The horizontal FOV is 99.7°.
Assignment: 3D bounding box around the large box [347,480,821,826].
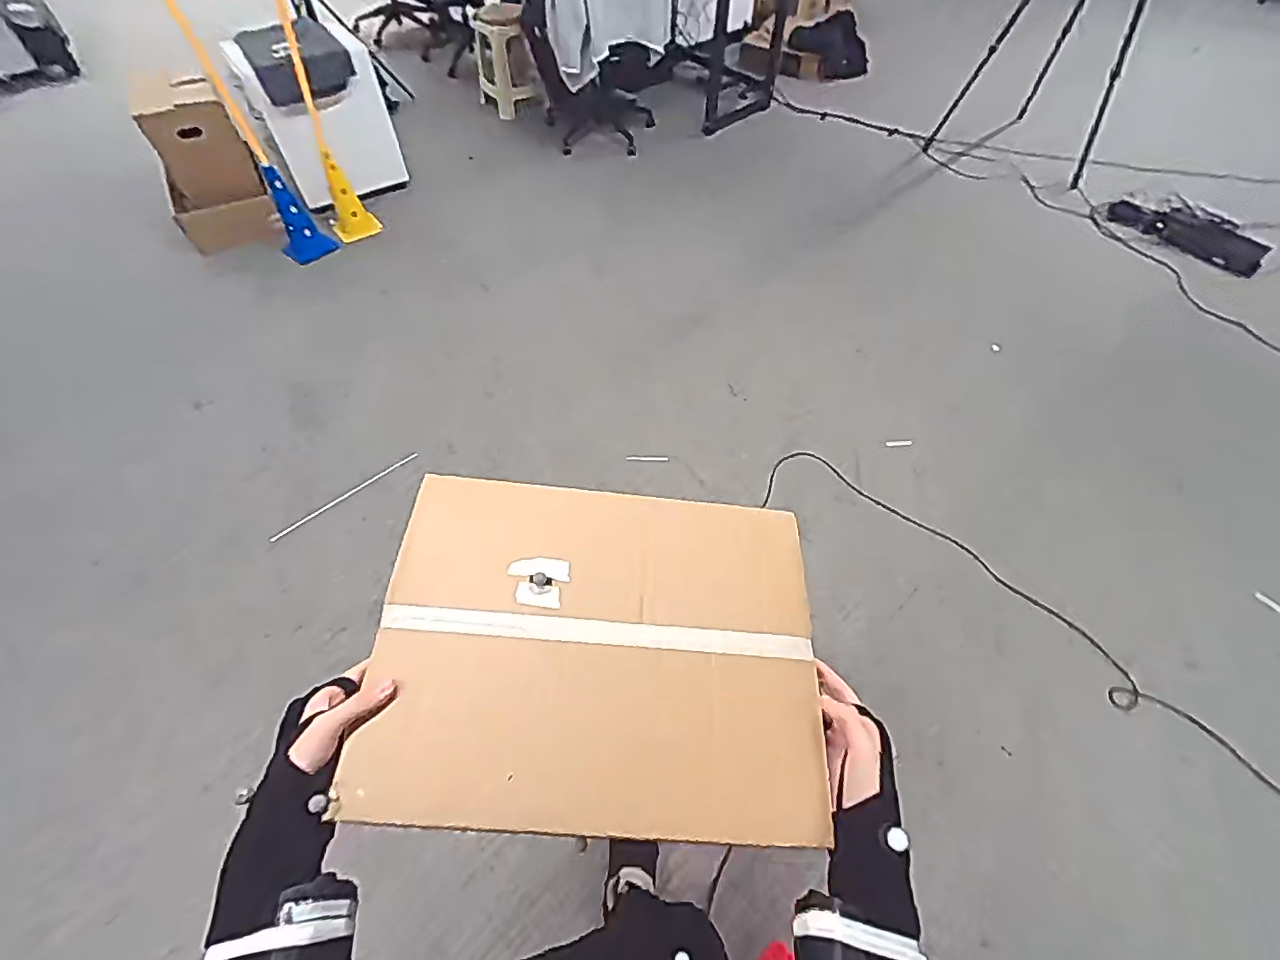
[{"bbox_3d":[-0.049,0.220,0.651,0.408,0.320,0.320,5,58,-4],"label":"large box"}]
